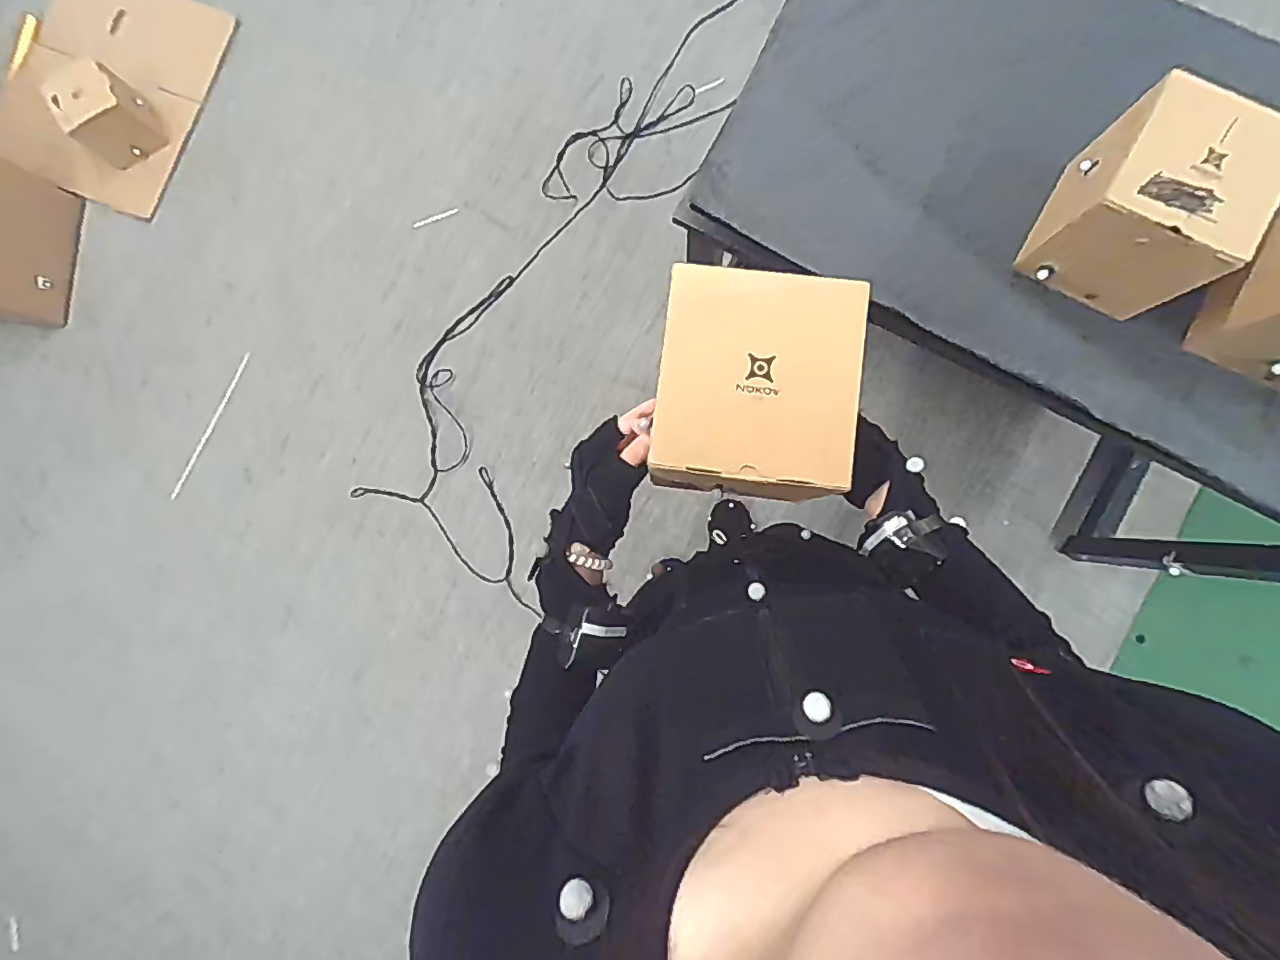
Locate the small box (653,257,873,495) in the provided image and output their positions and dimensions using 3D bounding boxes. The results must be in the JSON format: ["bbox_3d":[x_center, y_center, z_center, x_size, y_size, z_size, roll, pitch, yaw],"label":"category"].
[{"bbox_3d":[0.103,-0.084,0.519,0.168,0.176,0.179,7,87,2],"label":"small box"}]

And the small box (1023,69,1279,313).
[{"bbox_3d":[0.627,-0.339,0.672,0.168,0.176,0.179,29,87,5],"label":"small box"}]

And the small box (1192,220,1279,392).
[{"bbox_3d":[0.841,-0.227,0.649,0.168,0.176,0.179,27,88,6],"label":"small box"}]
